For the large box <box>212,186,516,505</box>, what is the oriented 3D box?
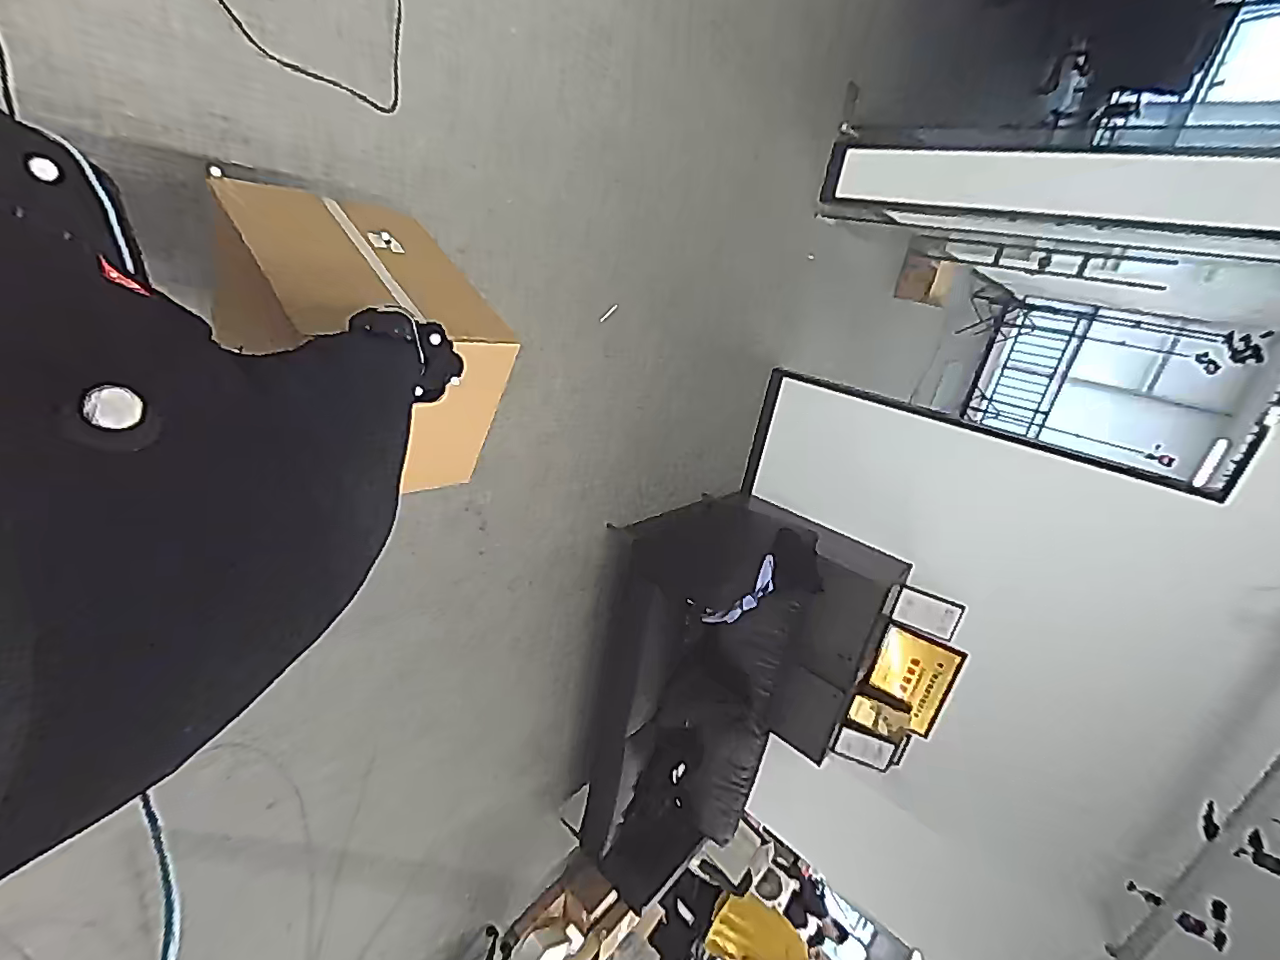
[{"bbox_3d":[-0.478,-0.223,0.918,0.320,0.408,0.320,-13,143,-47],"label":"large box"}]
